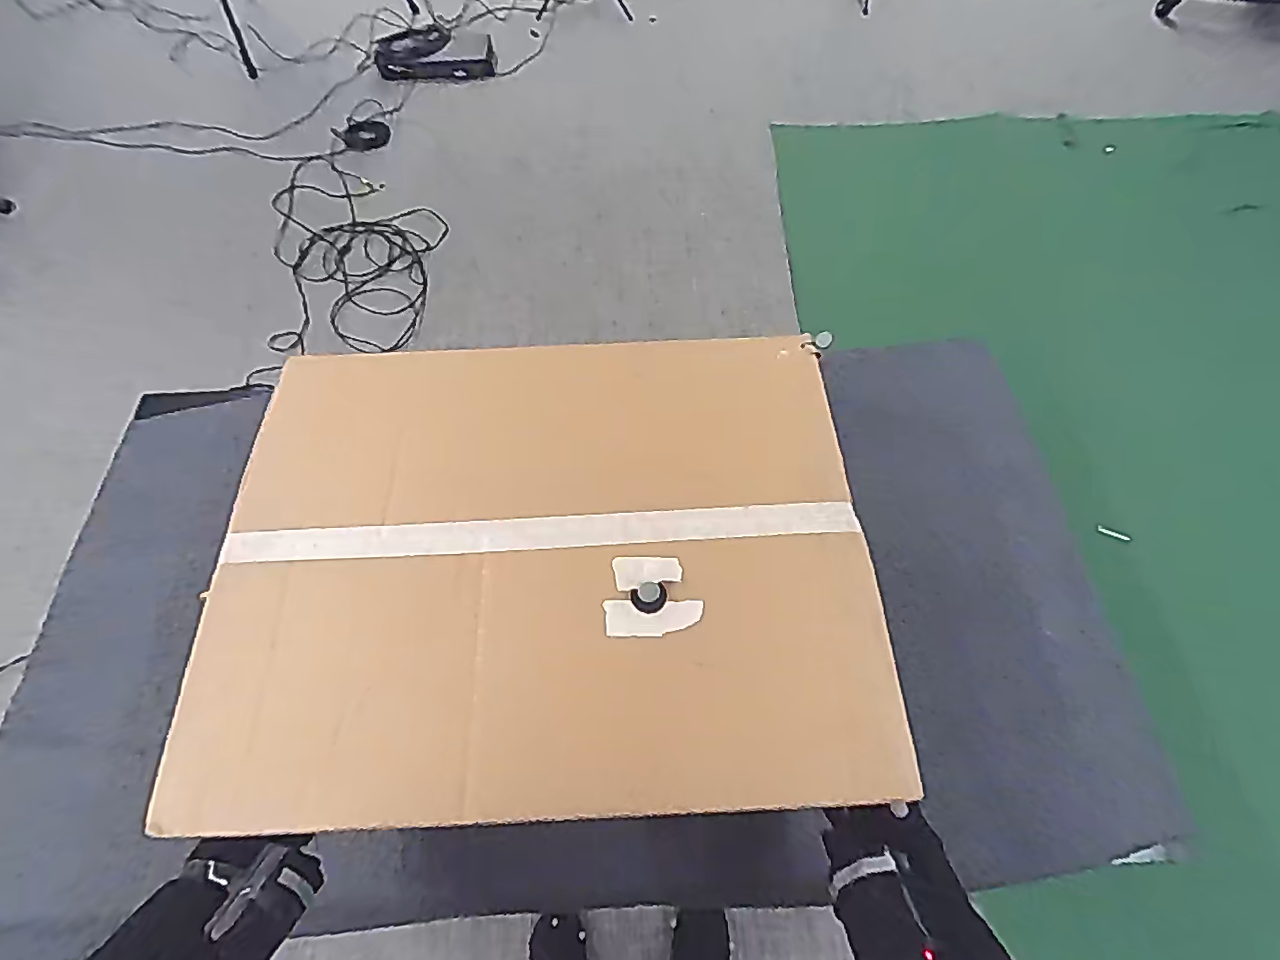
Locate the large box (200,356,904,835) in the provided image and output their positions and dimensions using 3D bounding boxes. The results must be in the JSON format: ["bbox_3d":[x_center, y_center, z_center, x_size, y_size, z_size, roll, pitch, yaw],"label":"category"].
[{"bbox_3d":[-0.055,0.114,0.500,0.408,0.320,0.320,-3,64,-1],"label":"large box"}]
